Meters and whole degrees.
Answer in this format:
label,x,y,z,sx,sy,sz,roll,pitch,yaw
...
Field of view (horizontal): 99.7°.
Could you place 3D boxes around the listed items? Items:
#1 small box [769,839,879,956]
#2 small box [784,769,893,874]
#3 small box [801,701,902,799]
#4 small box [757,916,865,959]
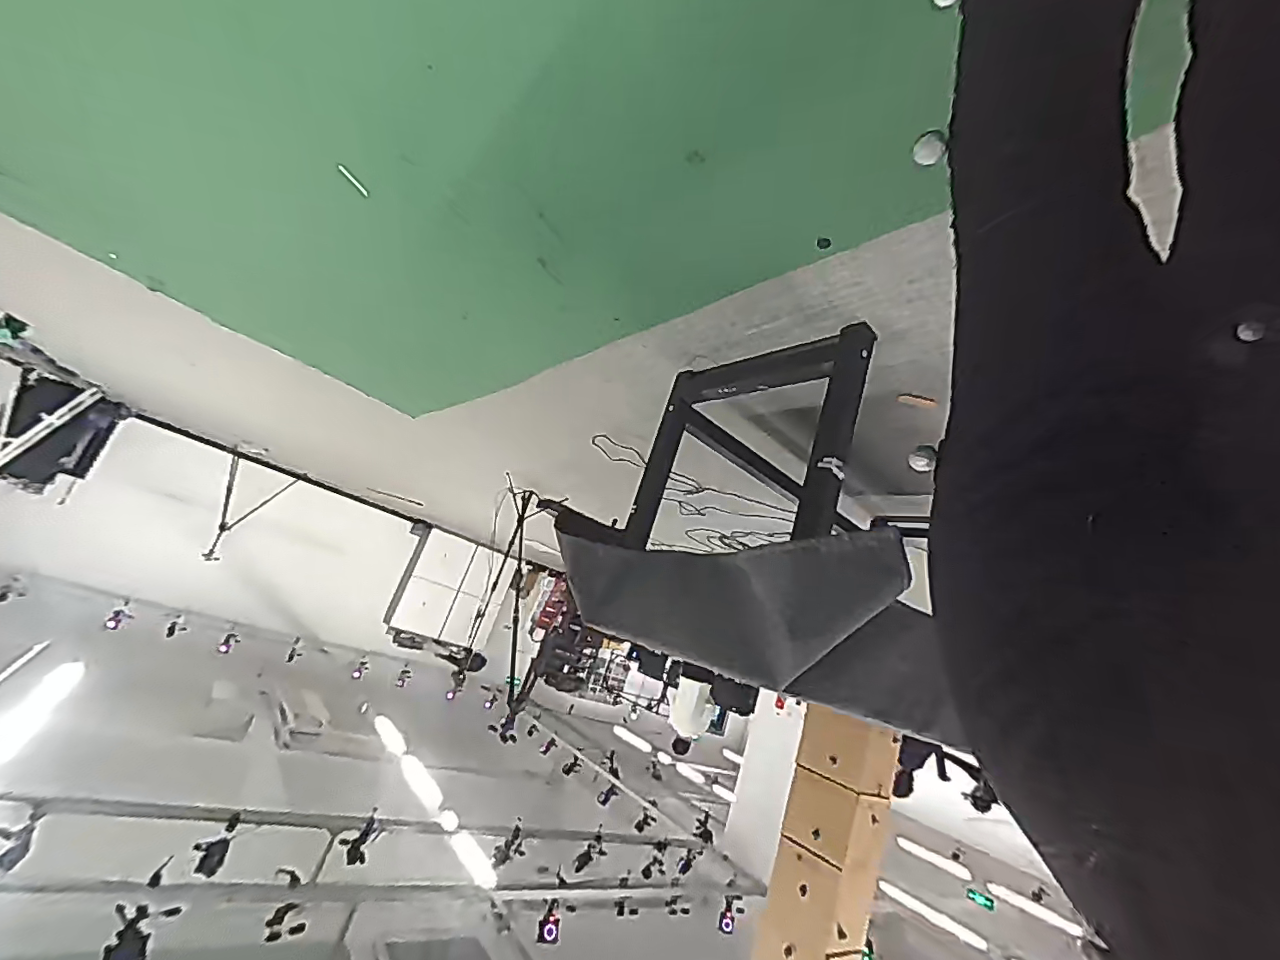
label,x,y,z,sx,sy,sz,roll,pitch,yaw
small box,0.438,0.974,1.278,0.179,0.176,0.168,31,161,-34
small box,0.490,0.825,1.327,0.168,0.176,0.179,30,161,-33
small box,0.541,0.679,1.372,0.168,0.176,0.179,30,162,-32
small box,0.382,1.120,1.231,0.168,0.176,0.179,31,160,-35
